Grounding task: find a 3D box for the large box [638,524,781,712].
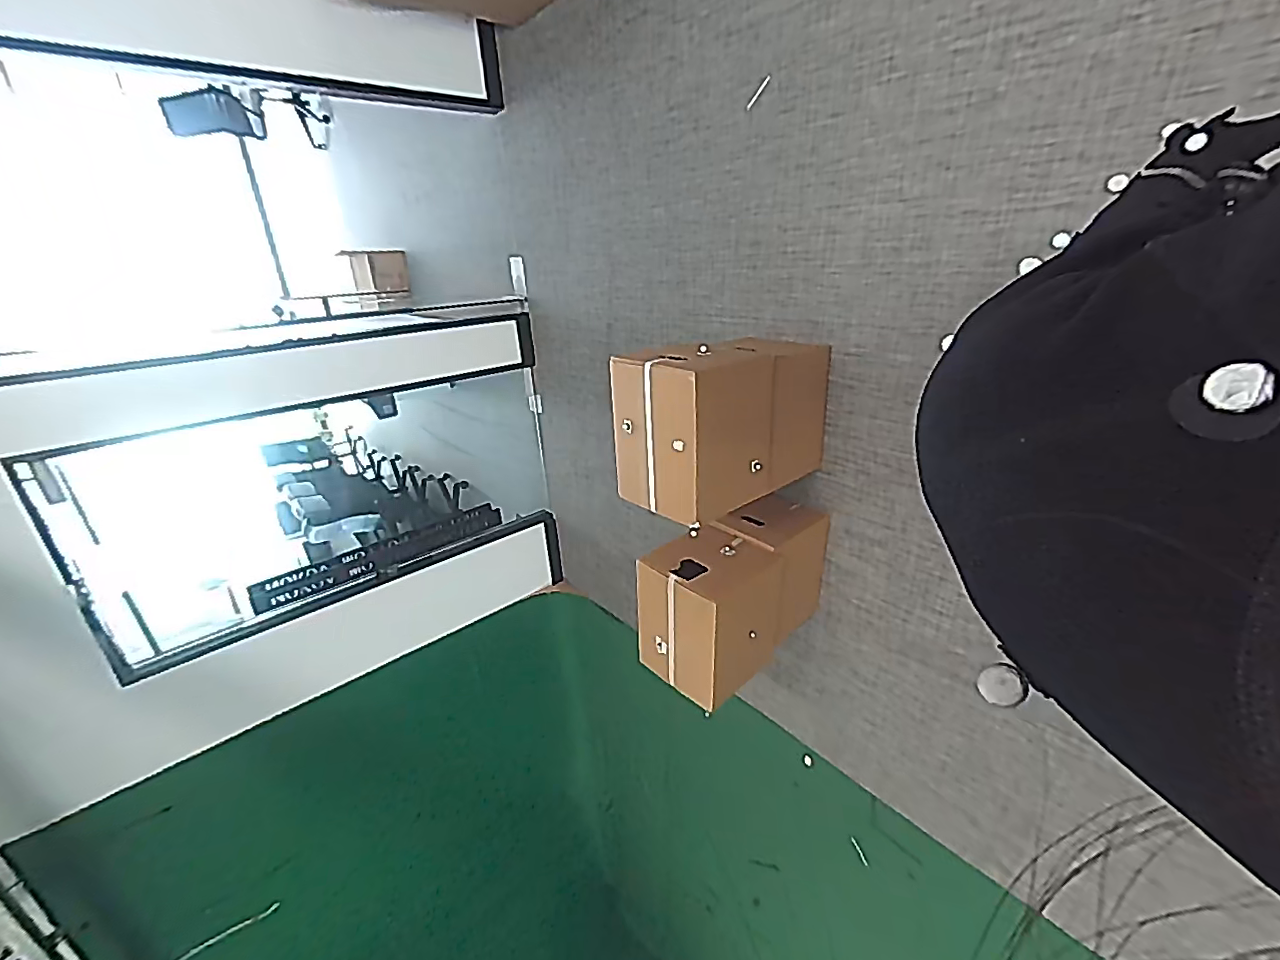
[{"bbox_3d":[0.215,0.405,1.676,0.320,0.320,0.408,23,125,42],"label":"large box"}]
